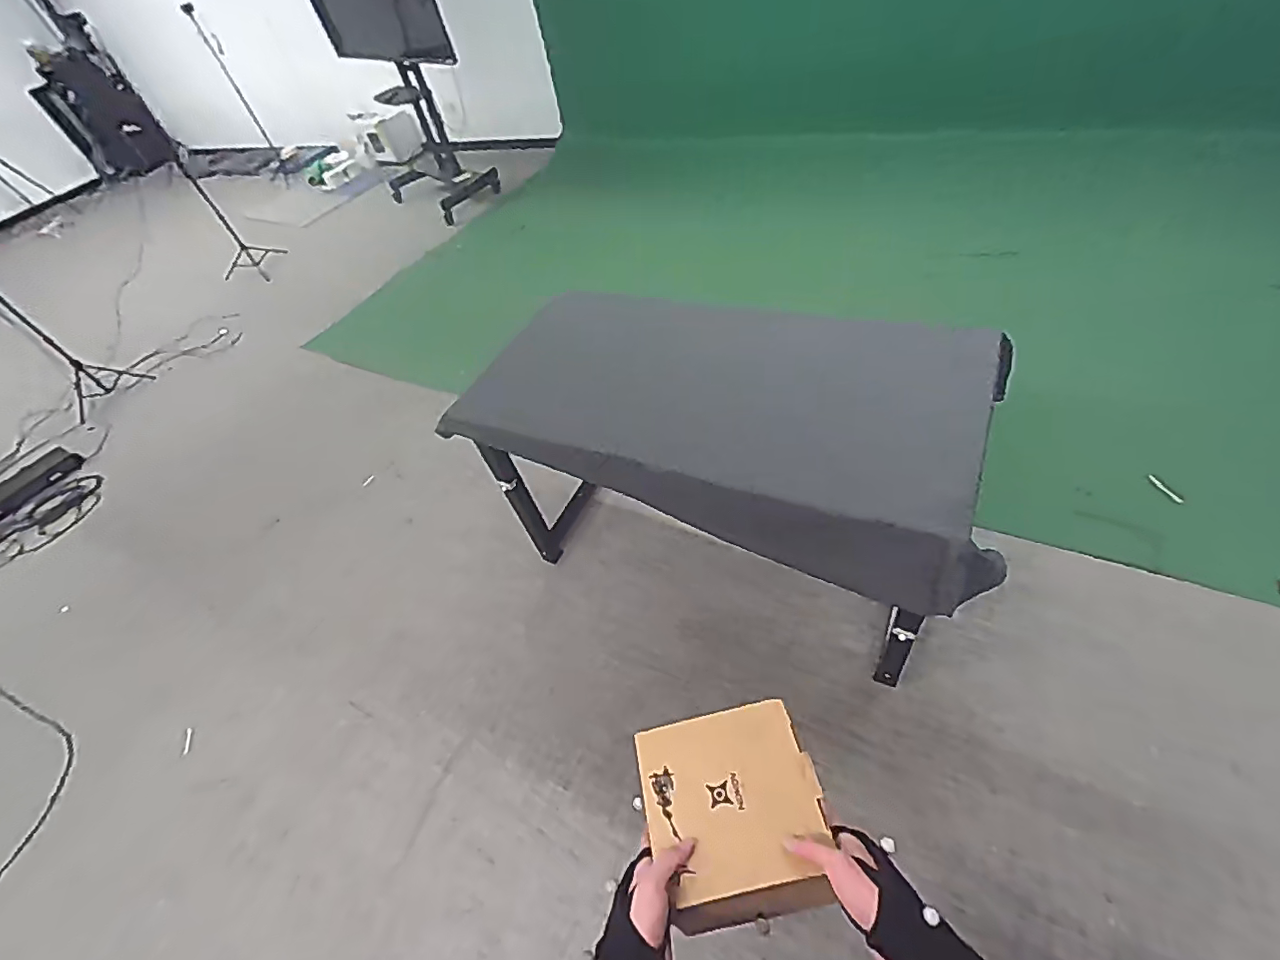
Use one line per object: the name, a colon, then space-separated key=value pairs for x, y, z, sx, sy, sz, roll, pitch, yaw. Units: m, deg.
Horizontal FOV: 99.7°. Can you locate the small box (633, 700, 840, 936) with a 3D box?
small box: x=0.100 y=0.376 z=0.600 sx=0.179 sy=0.176 sz=0.168 roll=-14 pitch=41 yaw=1
